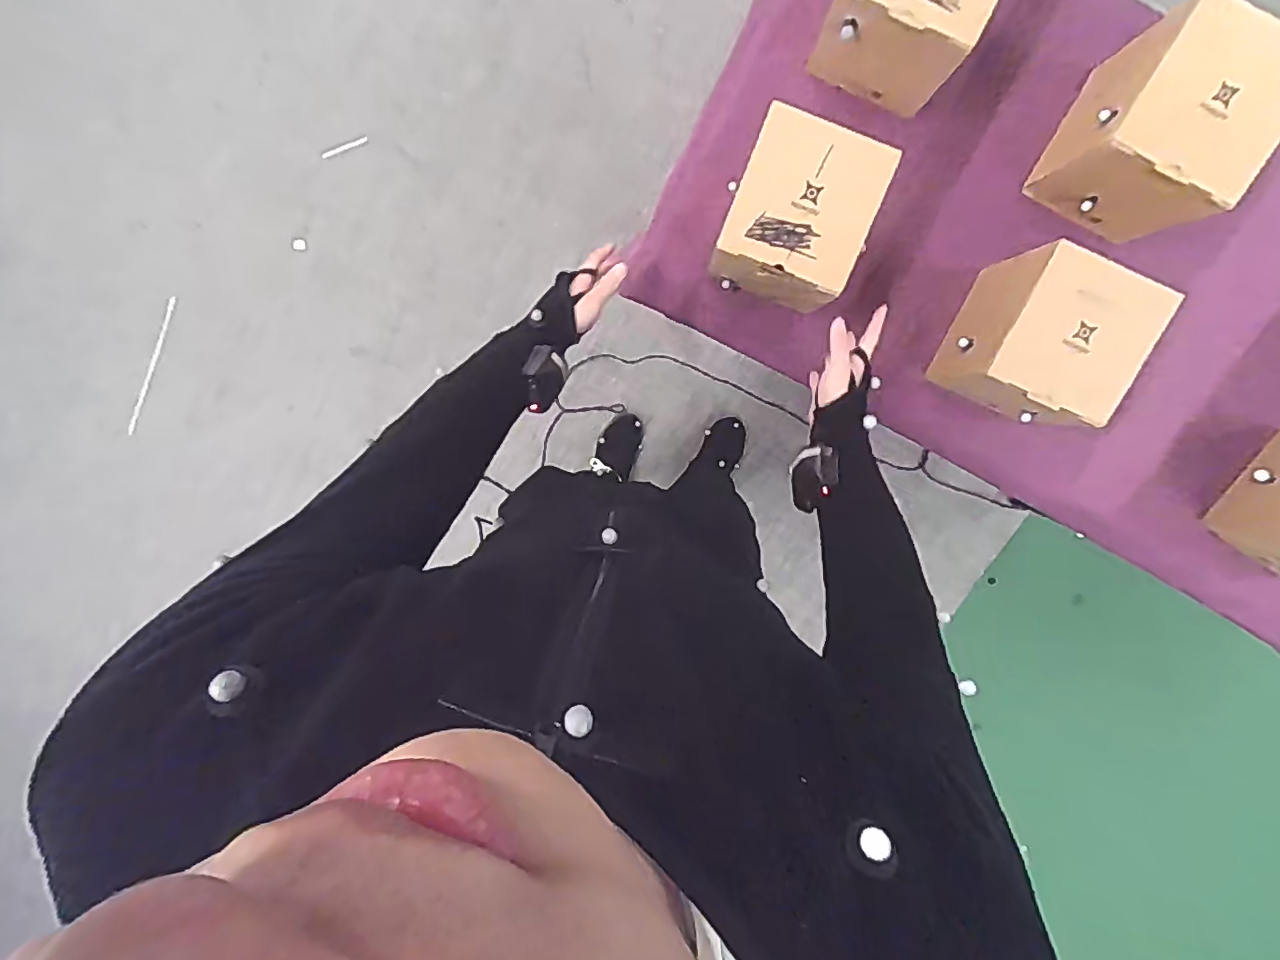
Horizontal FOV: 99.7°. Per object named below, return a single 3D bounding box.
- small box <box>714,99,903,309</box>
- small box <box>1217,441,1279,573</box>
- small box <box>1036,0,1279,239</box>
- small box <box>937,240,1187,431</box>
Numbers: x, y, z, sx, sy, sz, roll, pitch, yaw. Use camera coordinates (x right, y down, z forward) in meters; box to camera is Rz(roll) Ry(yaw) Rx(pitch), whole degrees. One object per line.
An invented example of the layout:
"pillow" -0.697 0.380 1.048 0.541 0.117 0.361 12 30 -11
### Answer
"small box" 0.204 -0.344 0.717 0.168 0.176 0.179 22 100 -1
"small box" 0.966 0.054 0.733 0.168 0.176 0.179 33 100 -2
"small box" 0.651 -0.432 0.670 0.168 0.176 0.179 28 103 -1
"small box" 0.537 -0.183 0.724 0.168 0.176 0.179 25 100 -1
